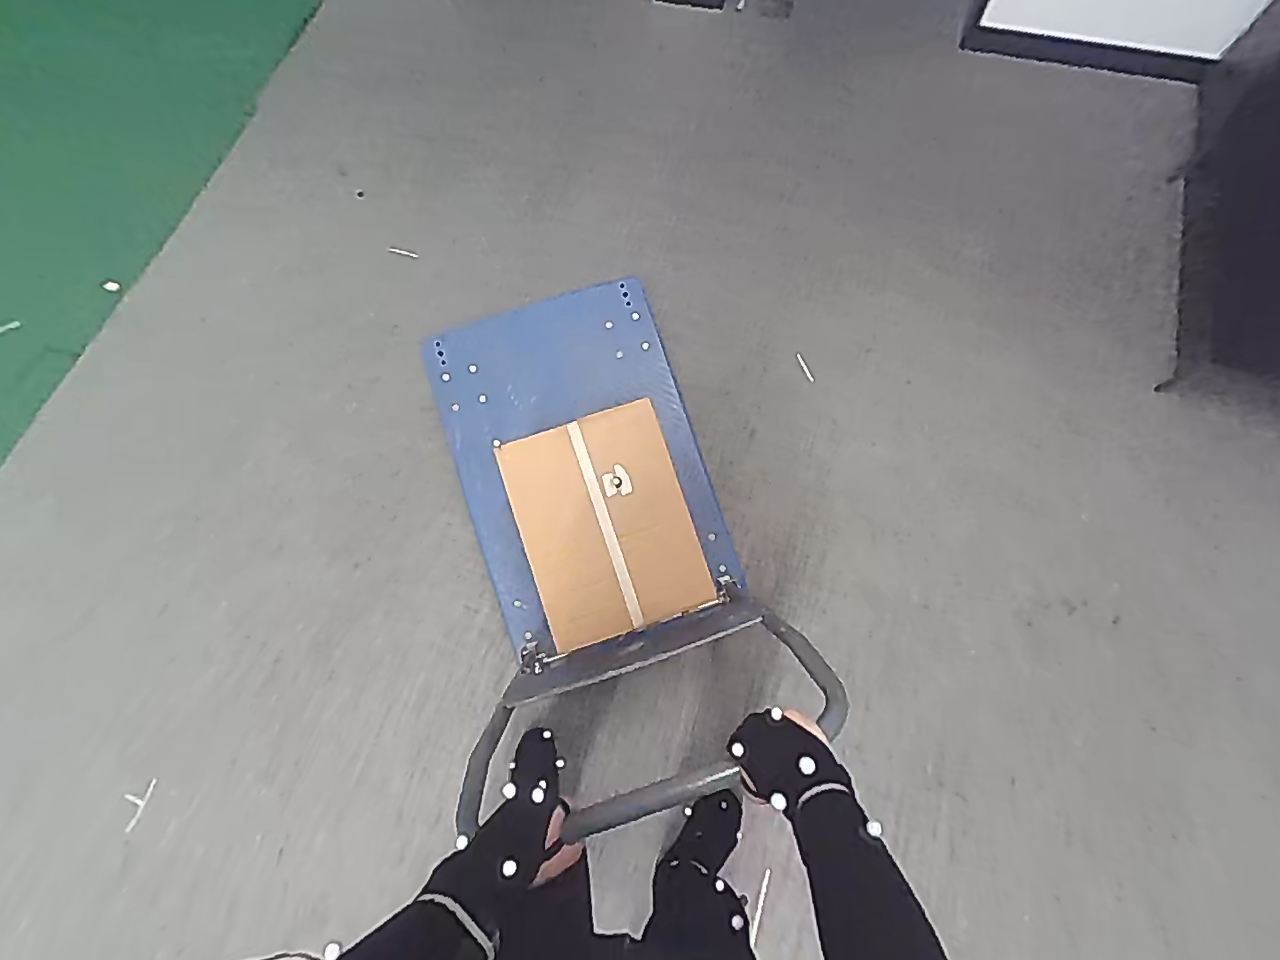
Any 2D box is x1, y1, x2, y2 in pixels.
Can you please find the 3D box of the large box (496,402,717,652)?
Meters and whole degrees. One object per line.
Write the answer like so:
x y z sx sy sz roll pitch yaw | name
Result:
-0.066 0.100 1.161 0.320 0.320 0.408 -19 85 -4 | large box
